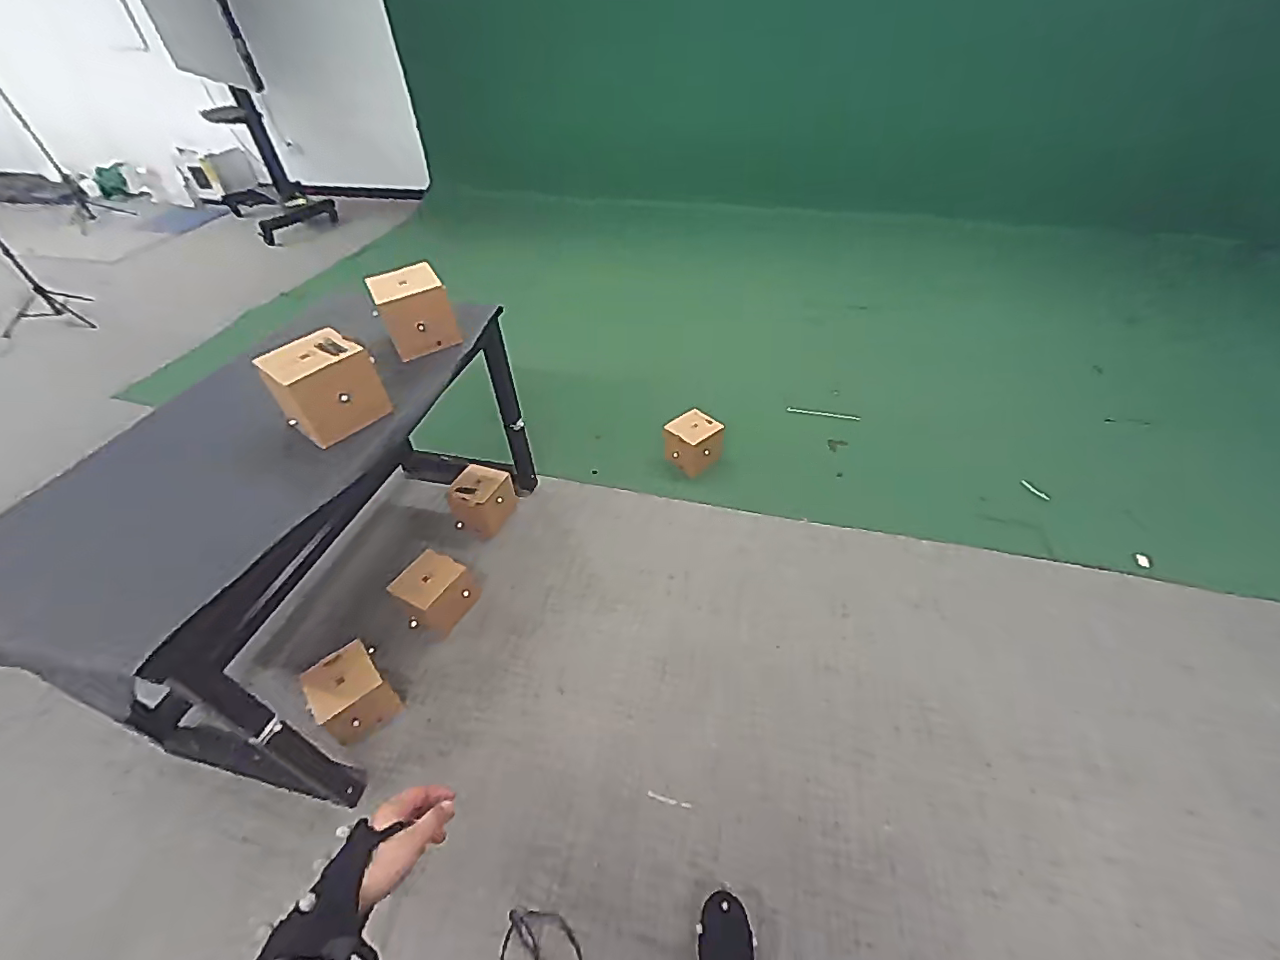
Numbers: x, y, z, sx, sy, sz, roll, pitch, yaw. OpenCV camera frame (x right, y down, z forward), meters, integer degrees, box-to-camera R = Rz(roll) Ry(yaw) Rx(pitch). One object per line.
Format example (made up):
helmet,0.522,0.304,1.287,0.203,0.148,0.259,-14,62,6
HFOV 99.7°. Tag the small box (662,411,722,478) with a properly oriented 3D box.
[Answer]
small box,0.204,-0.138,2.134,0.179,0.176,0.168,-32,51,-27

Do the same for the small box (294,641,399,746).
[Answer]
small box,-0.773,0.574,1.437,0.168,0.176,0.179,-33,51,-28

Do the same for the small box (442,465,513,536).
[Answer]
small box,-0.573,0.077,1.942,0.168,0.176,0.179,14,45,15

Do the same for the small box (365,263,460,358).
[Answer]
small box,-0.595,-0.442,1.426,0.168,0.176,0.179,-24,47,-17

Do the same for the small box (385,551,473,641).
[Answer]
small box,-0.635,0.355,1.657,0.168,0.176,0.179,19,50,22
